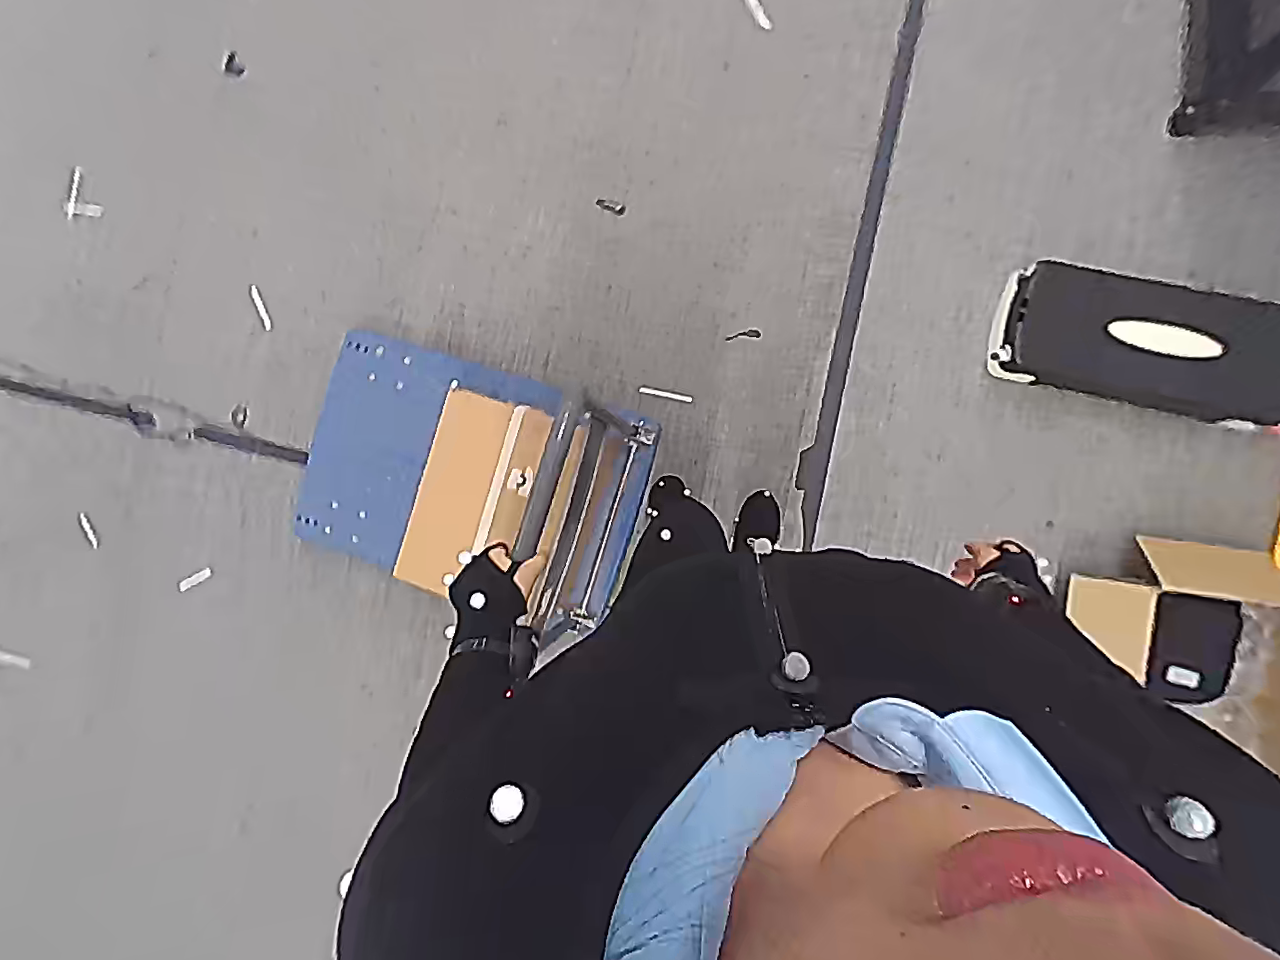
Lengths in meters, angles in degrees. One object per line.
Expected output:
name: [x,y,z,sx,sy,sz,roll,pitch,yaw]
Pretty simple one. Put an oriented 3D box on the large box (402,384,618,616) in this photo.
large box: [-0.270,0.041,1.226,0.320,0.320,0.408,18,91,6]
